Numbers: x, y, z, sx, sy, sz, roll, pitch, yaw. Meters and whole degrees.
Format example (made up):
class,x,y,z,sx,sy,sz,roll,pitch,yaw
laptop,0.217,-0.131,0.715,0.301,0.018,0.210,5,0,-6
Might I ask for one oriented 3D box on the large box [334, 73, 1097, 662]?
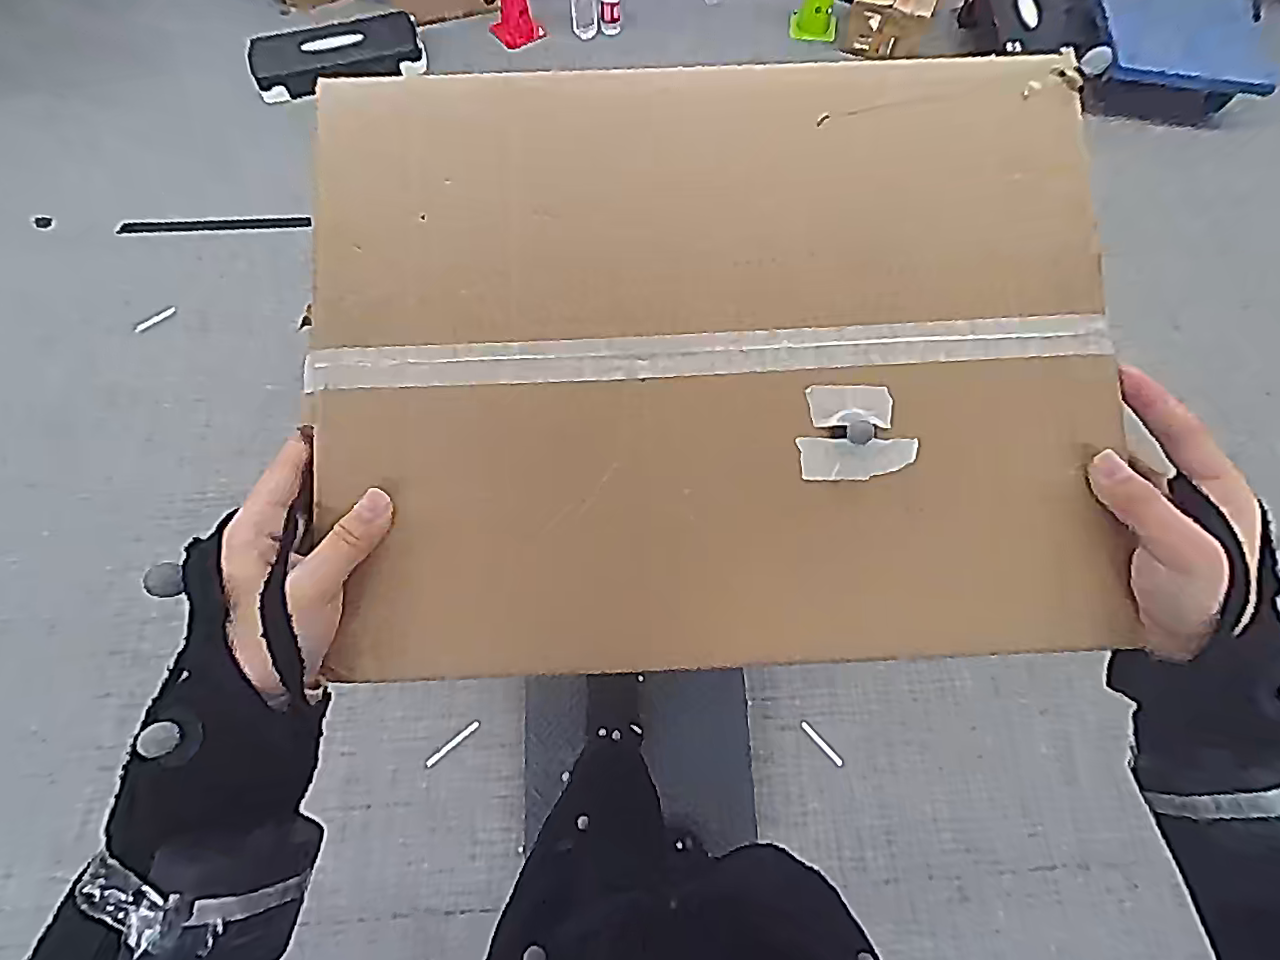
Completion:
class,x,y,z,sx,sy,sz,roll,pitch,yaw
large box,0.032,-0.057,0.441,0.408,0.320,0.320,-3,86,-1
